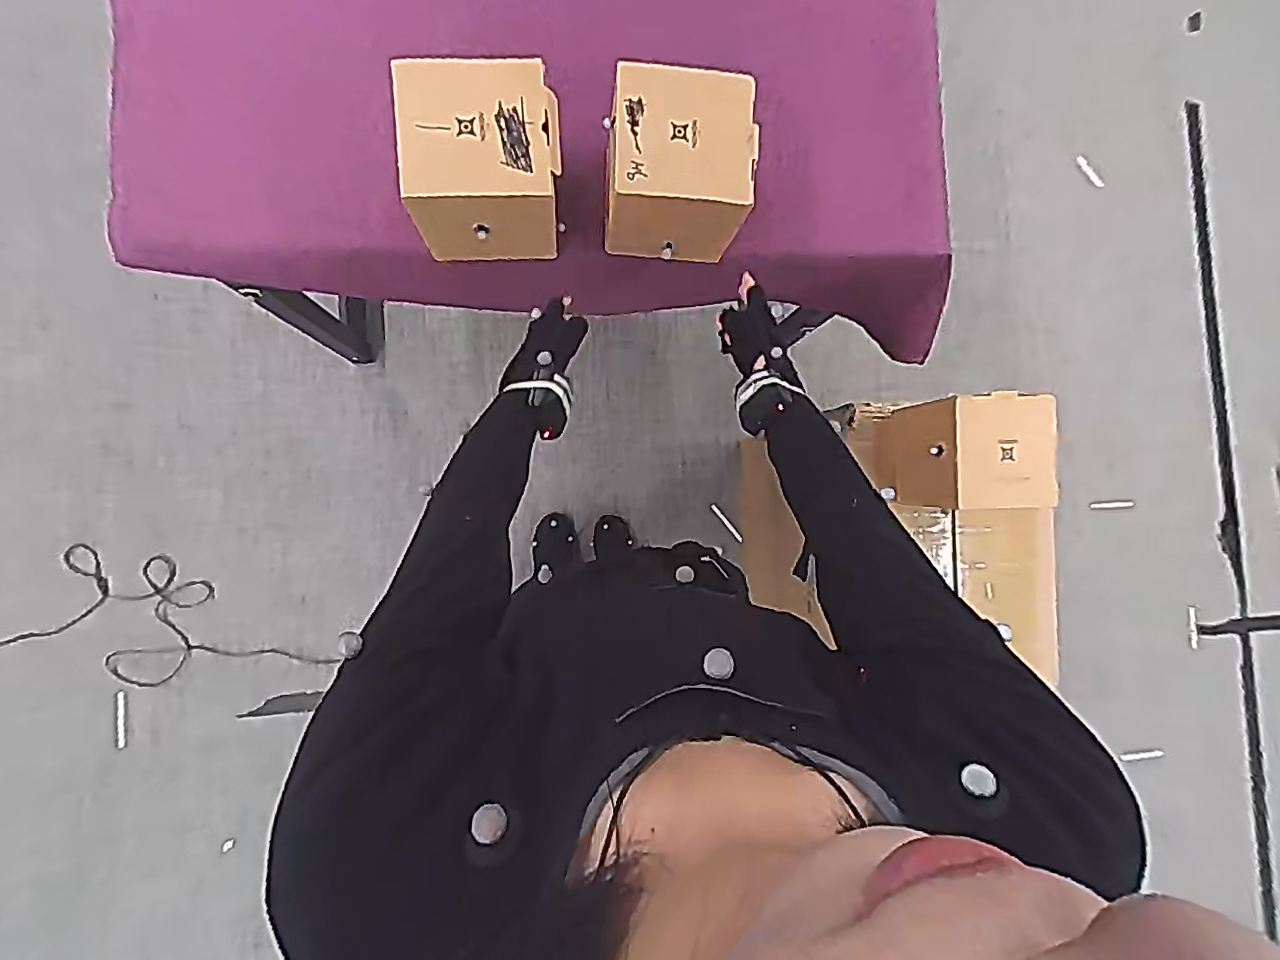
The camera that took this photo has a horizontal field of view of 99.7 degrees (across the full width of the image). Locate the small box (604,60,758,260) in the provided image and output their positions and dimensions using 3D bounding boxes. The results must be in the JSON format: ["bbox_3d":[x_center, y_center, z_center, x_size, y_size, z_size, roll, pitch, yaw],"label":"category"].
[{"bbox_3d":[0.048,-0.421,0.743,0.179,0.176,0.168,2,87,-8],"label":"small box"}]

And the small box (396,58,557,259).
[{"bbox_3d":[-0.200,-0.405,0.709,0.179,0.176,0.168,-4,87,-7],"label":"small box"}]

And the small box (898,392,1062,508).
[{"bbox_3d":[0.549,-0.044,0.895,0.168,0.176,0.179,-2,90,-5],"label":"small box"}]
